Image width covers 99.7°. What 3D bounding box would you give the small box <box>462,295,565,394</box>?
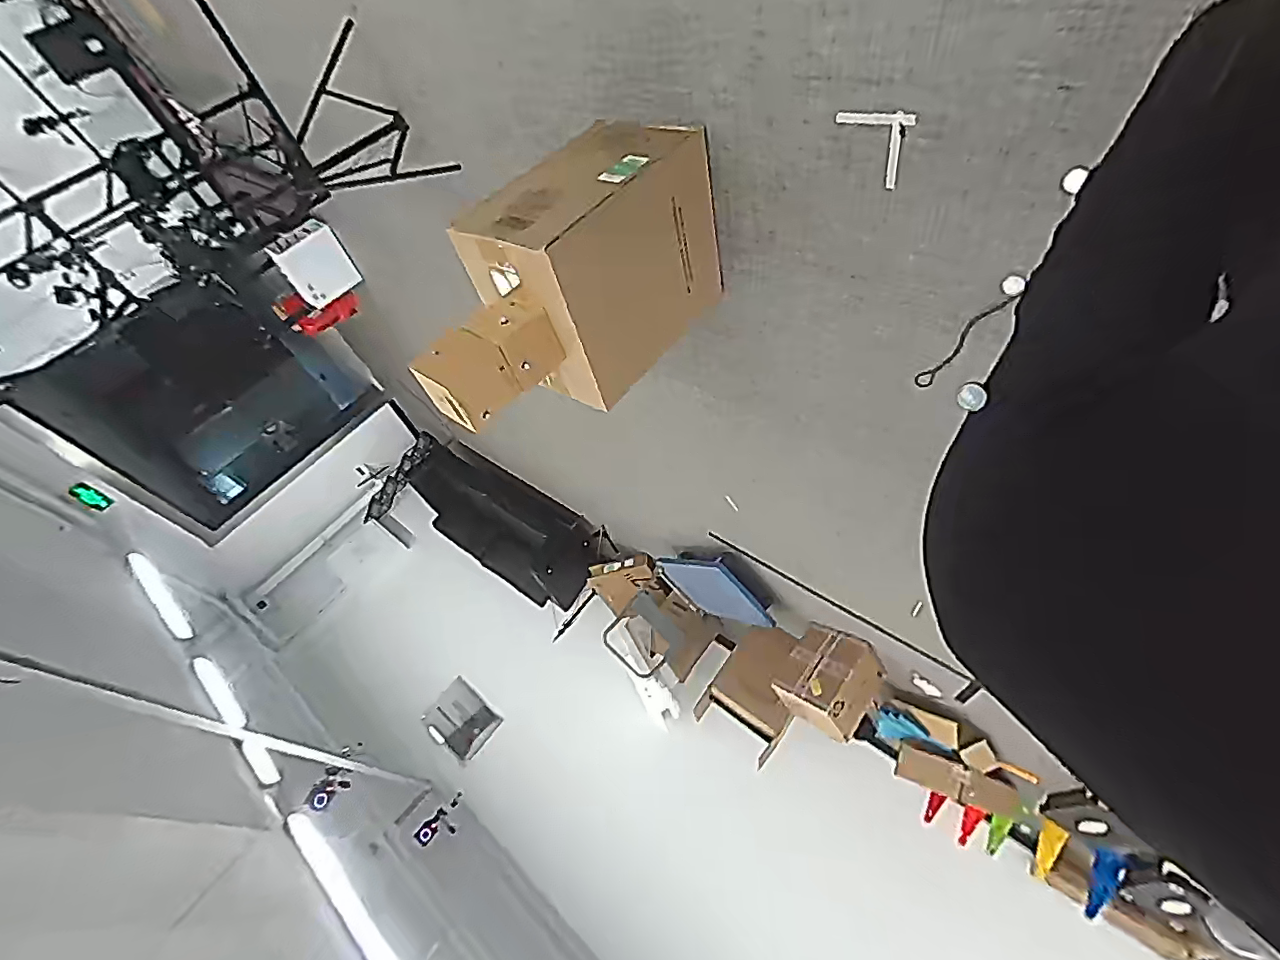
[{"bbox_3d":[-0.333,-0.369,1.454,0.168,0.176,0.179,27,155,31],"label":"small box"}]
